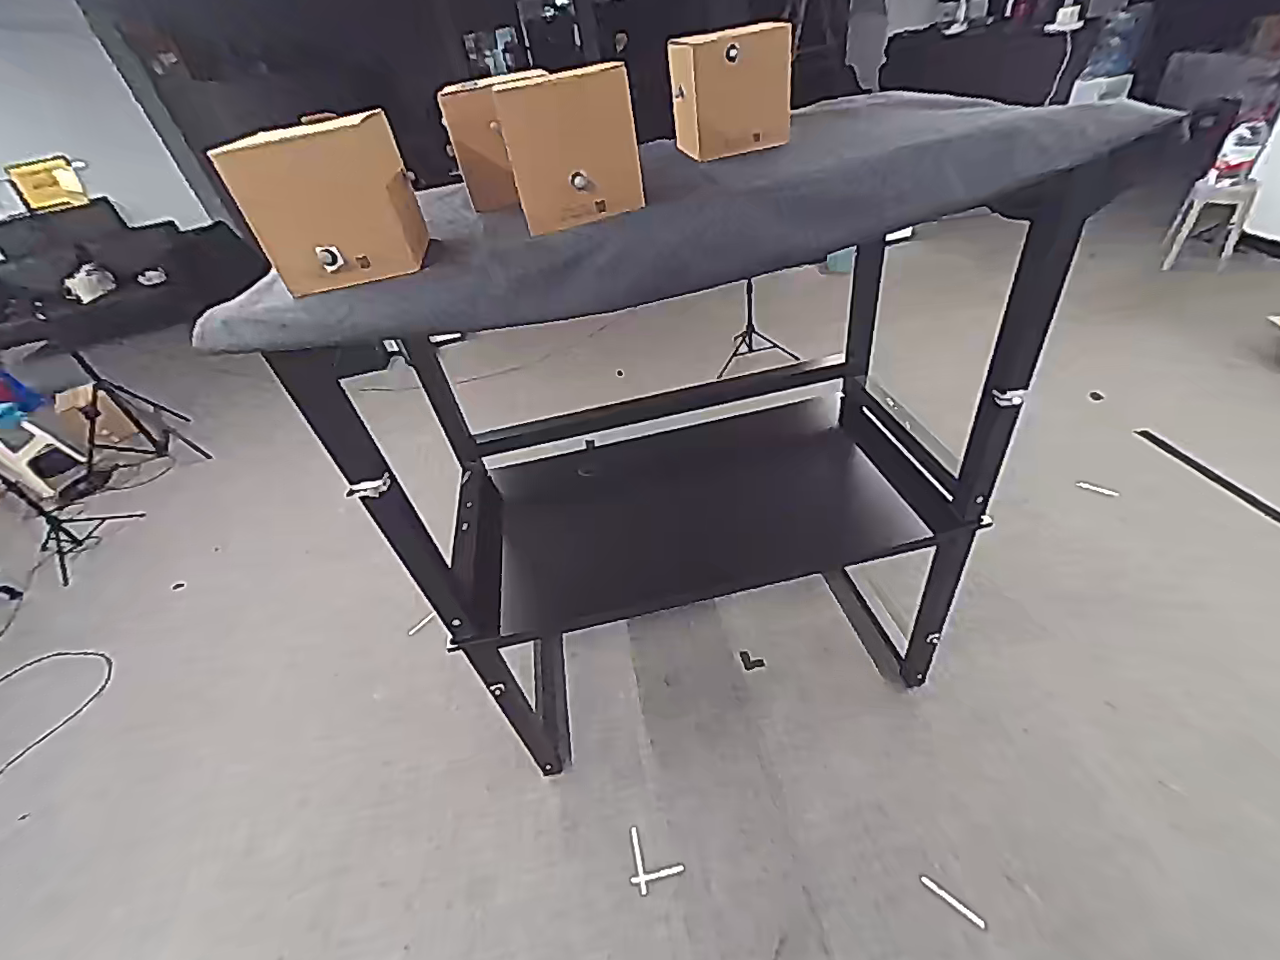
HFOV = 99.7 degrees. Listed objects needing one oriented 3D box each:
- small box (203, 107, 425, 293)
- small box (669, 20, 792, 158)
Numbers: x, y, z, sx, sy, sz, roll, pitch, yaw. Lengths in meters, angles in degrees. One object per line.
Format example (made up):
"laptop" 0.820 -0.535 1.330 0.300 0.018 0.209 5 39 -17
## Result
"small box" -0.390 -0.358 0.691 0.168 0.176 0.179 -15 39 -4
"small box" 0.155 -0.683 0.951 0.168 0.176 0.179 -14 39 -3
